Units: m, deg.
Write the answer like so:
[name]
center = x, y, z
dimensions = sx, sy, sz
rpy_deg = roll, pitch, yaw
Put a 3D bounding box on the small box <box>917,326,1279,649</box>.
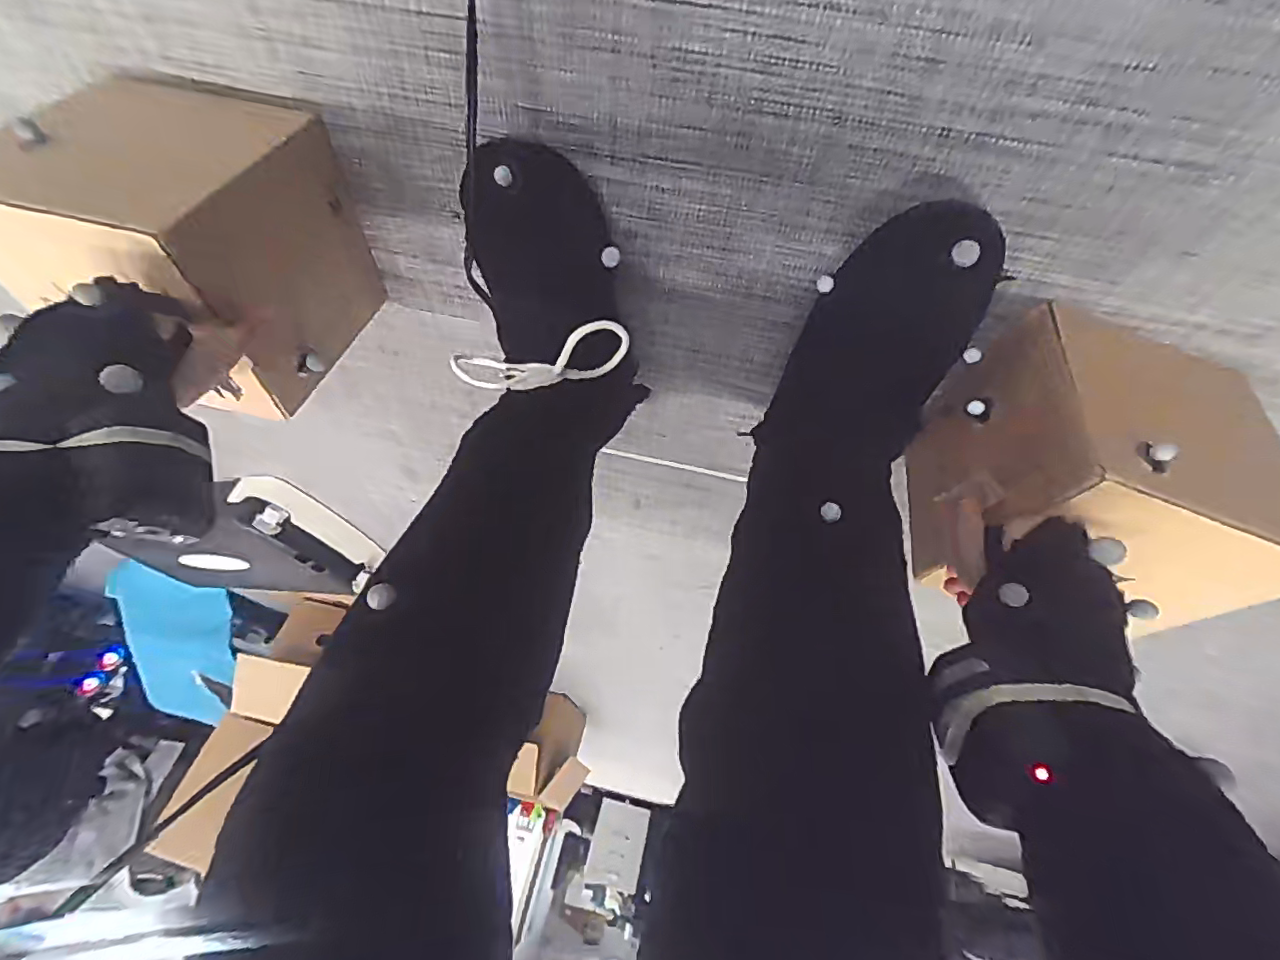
[small box]
center = 0.349, 0.009, 0.426
dimensions = 0.179, 0.176, 0.168
rpy_deg = 20, 146, -4
